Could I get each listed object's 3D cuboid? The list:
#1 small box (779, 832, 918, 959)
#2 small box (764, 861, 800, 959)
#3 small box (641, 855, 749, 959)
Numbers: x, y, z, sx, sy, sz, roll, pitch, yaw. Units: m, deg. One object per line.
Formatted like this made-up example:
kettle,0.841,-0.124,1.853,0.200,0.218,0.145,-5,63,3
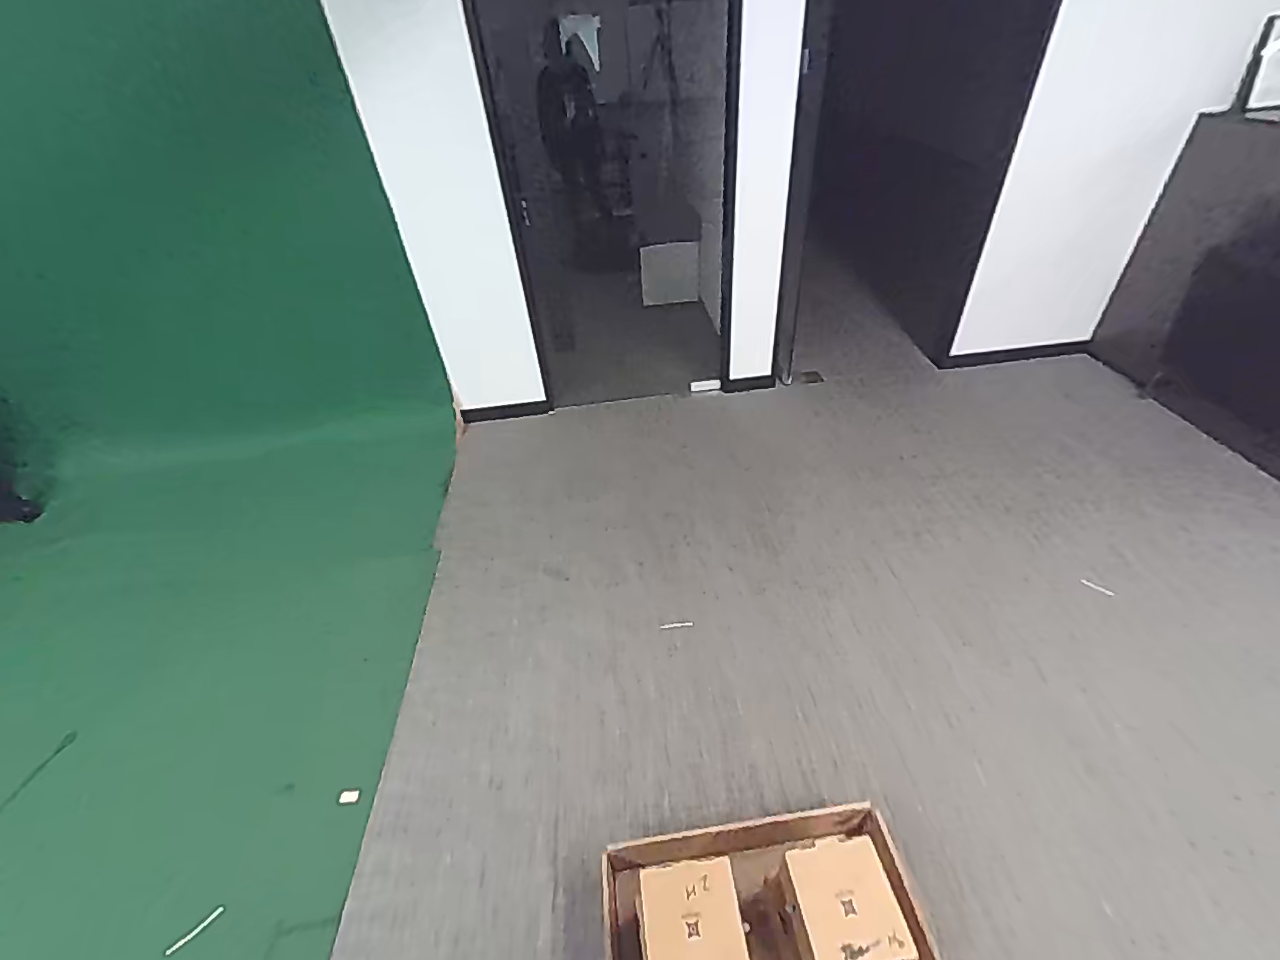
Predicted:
small box,0.360,0.773,0.974,0.168,0.176,0.179,-8,40,-3
small box,0.361,0.882,1.097,0.179,0.176,0.168,-9,42,-7
small box,0.095,0.803,0.966,0.168,0.176,0.179,-6,41,-3
